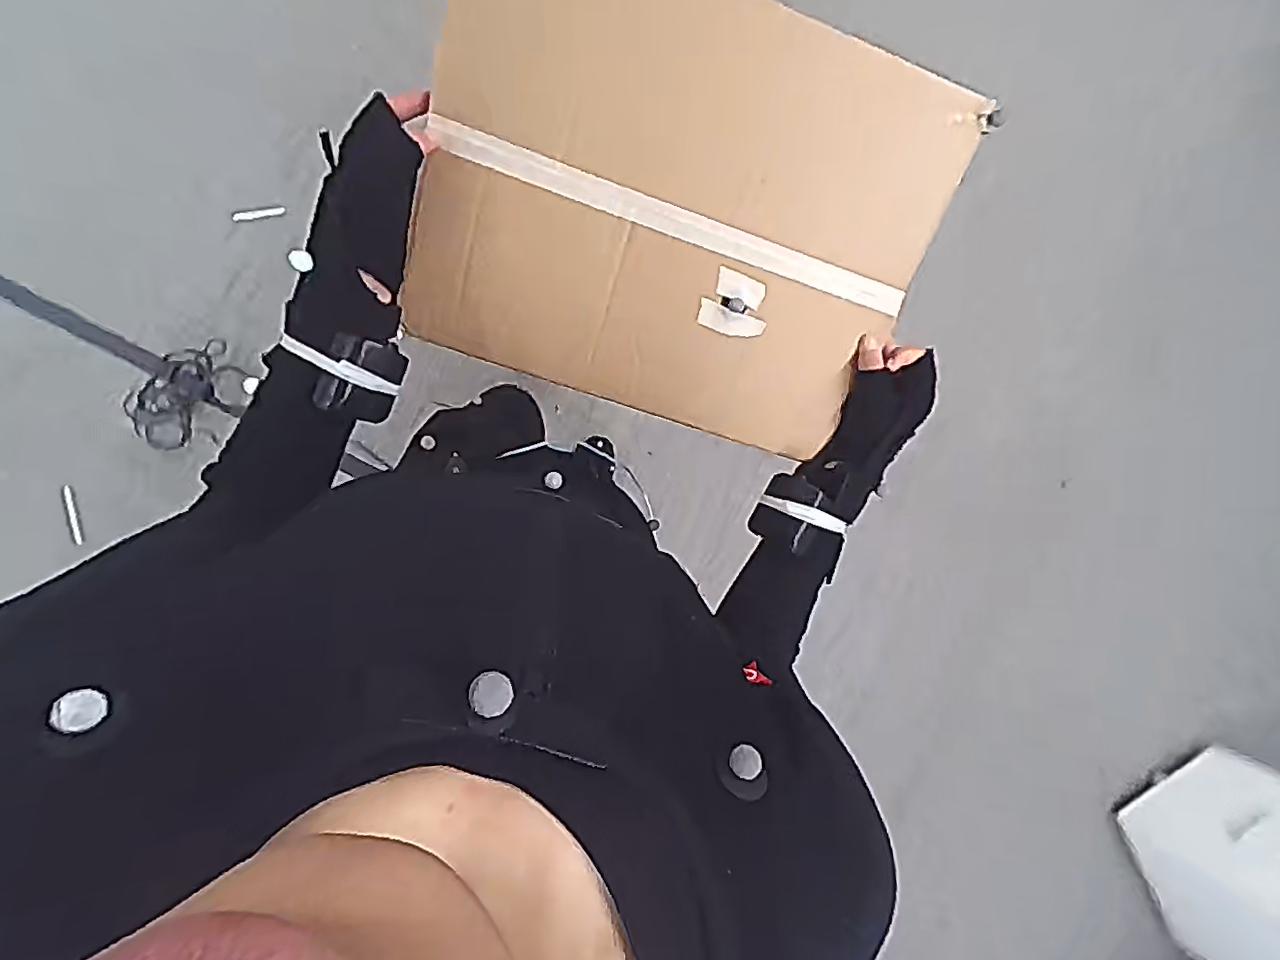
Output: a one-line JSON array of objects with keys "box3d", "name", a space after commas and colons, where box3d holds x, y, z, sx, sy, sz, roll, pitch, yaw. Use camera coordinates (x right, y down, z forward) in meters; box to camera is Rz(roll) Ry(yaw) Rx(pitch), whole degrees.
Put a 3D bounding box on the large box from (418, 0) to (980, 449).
[{"box3d": [0.030, -0.270, 0.587, 0.408, 0.320, 0.320, 17, 110, -9], "name": "large box"}]
